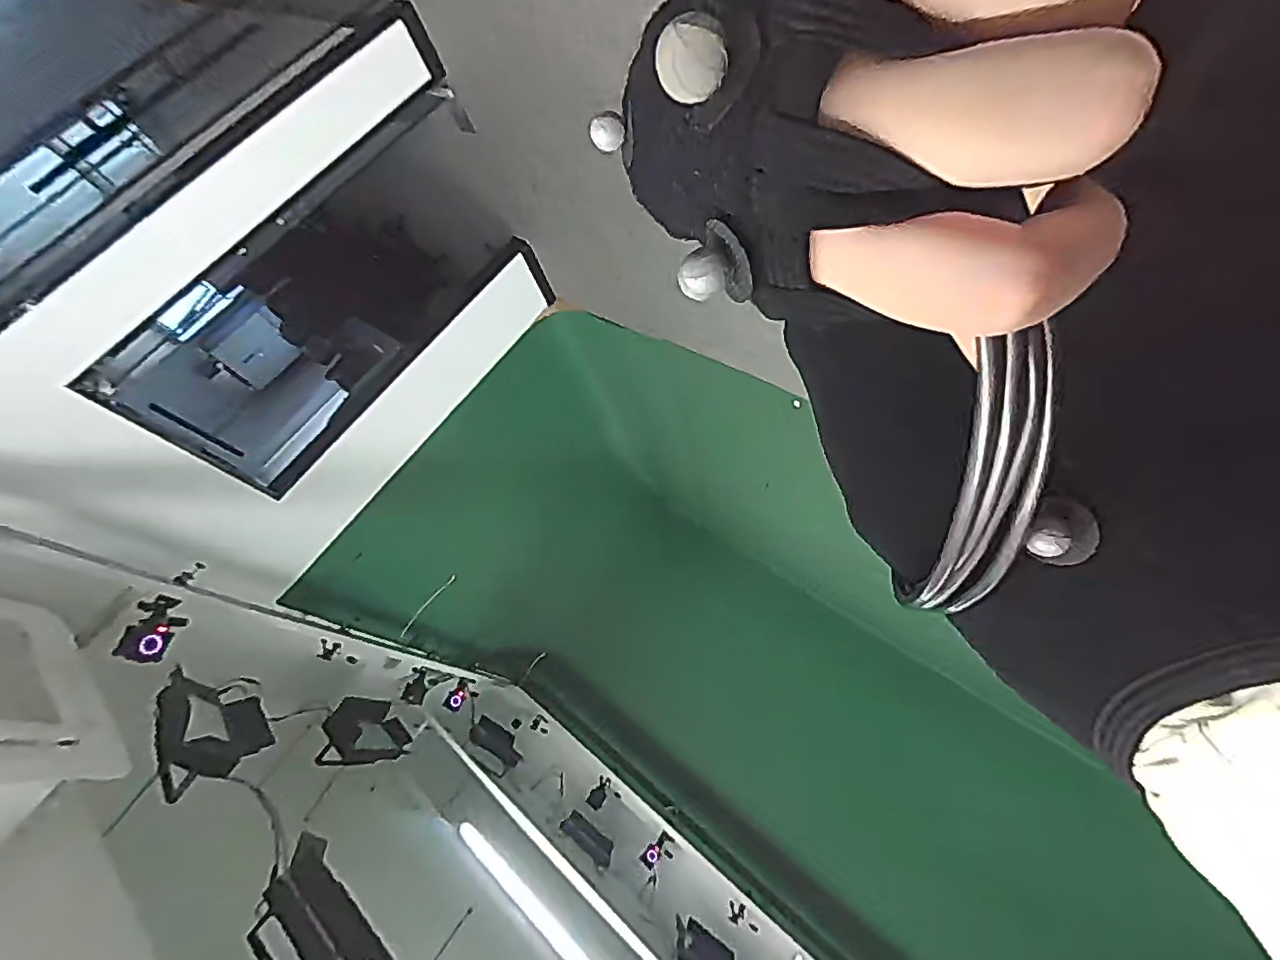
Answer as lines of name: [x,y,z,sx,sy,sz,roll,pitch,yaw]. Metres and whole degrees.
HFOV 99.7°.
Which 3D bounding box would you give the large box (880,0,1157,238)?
large box: [0.689,-0.745,0.993,0.320,0.320,0.408,31,163,26]
